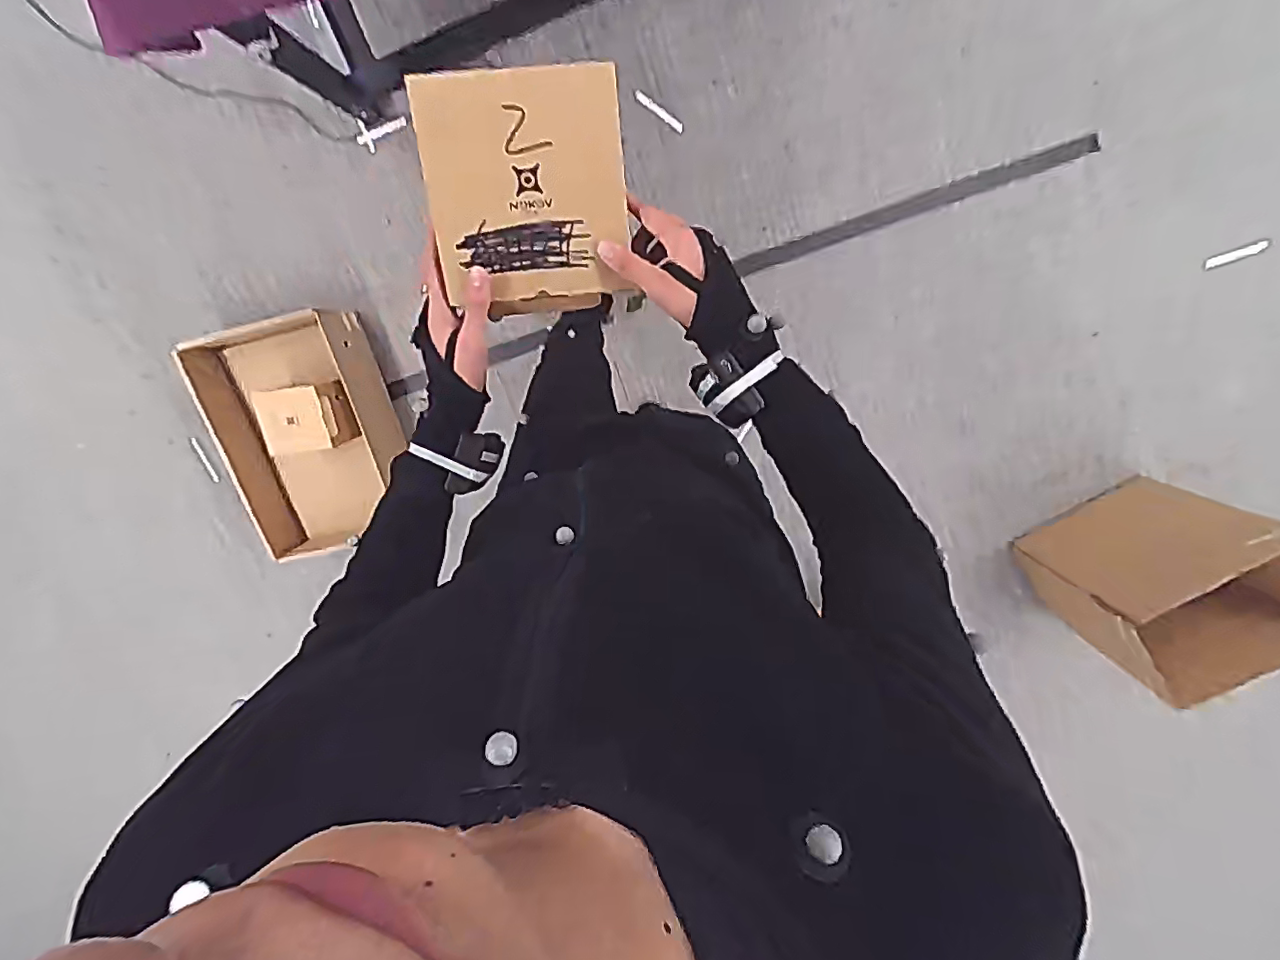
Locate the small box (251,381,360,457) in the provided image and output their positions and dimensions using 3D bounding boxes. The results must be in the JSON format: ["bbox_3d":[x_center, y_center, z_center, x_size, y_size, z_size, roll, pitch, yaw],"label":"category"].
[{"bbox_3d":[-0.878,-0.167,1.444,0.179,0.176,0.168,-5,108,2],"label":"small box"}]
